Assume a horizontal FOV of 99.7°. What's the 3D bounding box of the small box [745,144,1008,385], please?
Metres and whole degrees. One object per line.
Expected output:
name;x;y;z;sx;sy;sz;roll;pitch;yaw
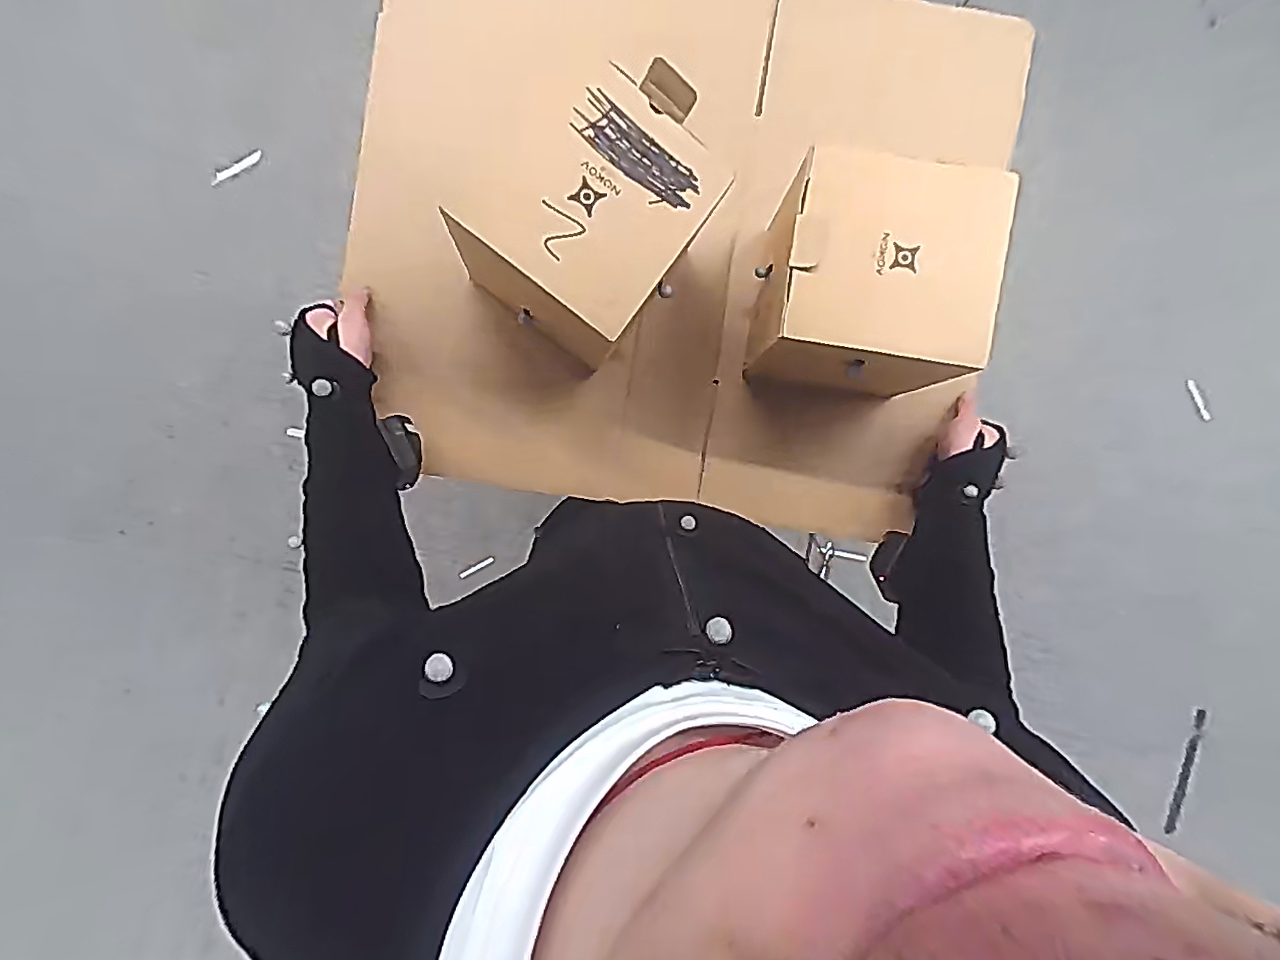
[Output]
small box;0.217;-0.196;0.543;0.179;0.176;0.168;9;91;1
